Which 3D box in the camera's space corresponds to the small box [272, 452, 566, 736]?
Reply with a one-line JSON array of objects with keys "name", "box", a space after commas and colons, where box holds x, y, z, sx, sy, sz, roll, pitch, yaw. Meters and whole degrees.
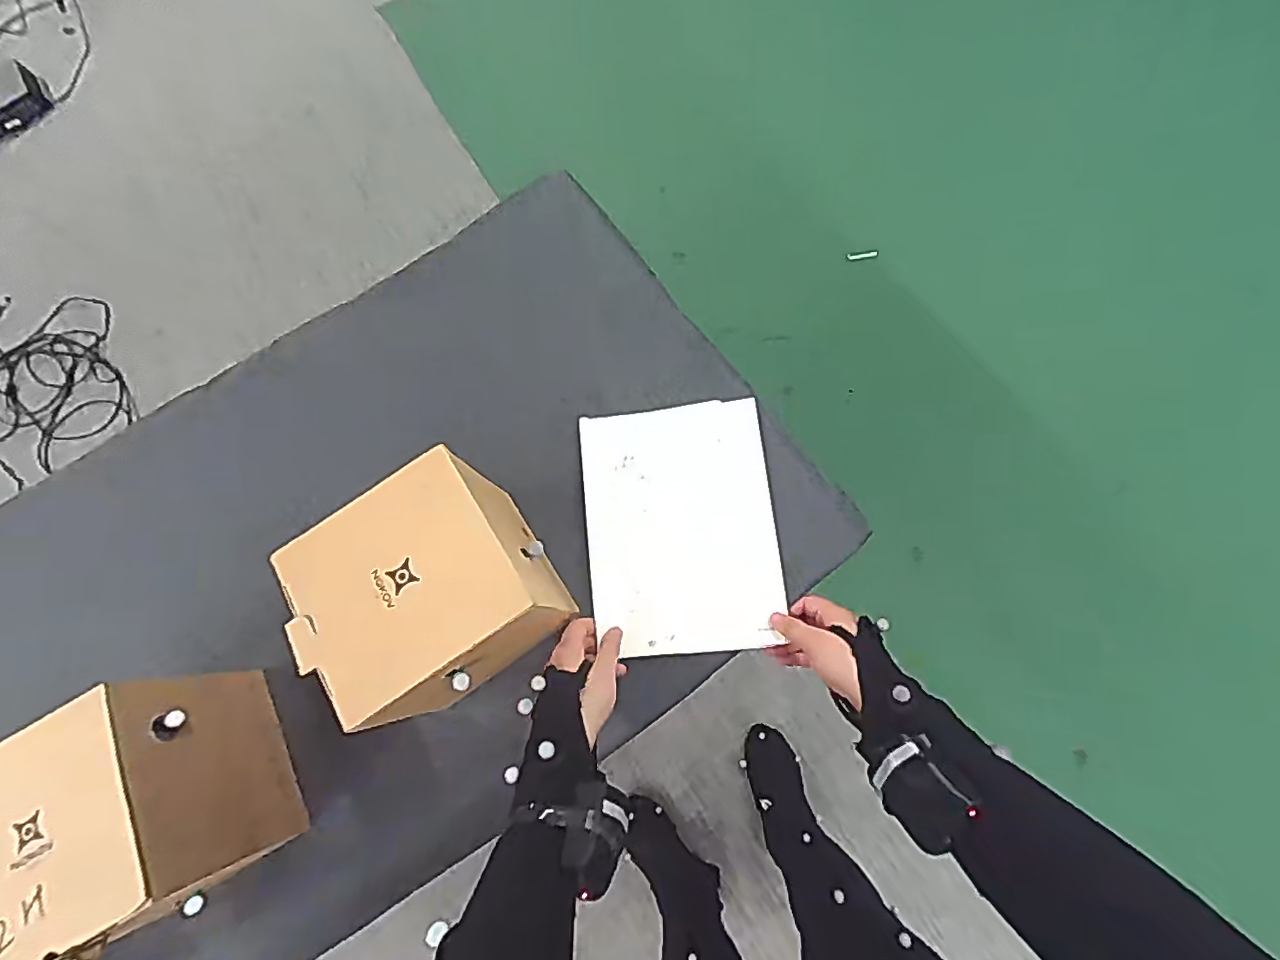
[{"name": "small box", "box": [-0.187, 0.105, 0.514, 0.179, 0.176, 0.168, -35, 73, -2]}]

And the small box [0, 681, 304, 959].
[{"name": "small box", "box": [-0.454, 0.300, 0.492, 0.168, 0.176, 0.179, -31, 73, -1]}]
